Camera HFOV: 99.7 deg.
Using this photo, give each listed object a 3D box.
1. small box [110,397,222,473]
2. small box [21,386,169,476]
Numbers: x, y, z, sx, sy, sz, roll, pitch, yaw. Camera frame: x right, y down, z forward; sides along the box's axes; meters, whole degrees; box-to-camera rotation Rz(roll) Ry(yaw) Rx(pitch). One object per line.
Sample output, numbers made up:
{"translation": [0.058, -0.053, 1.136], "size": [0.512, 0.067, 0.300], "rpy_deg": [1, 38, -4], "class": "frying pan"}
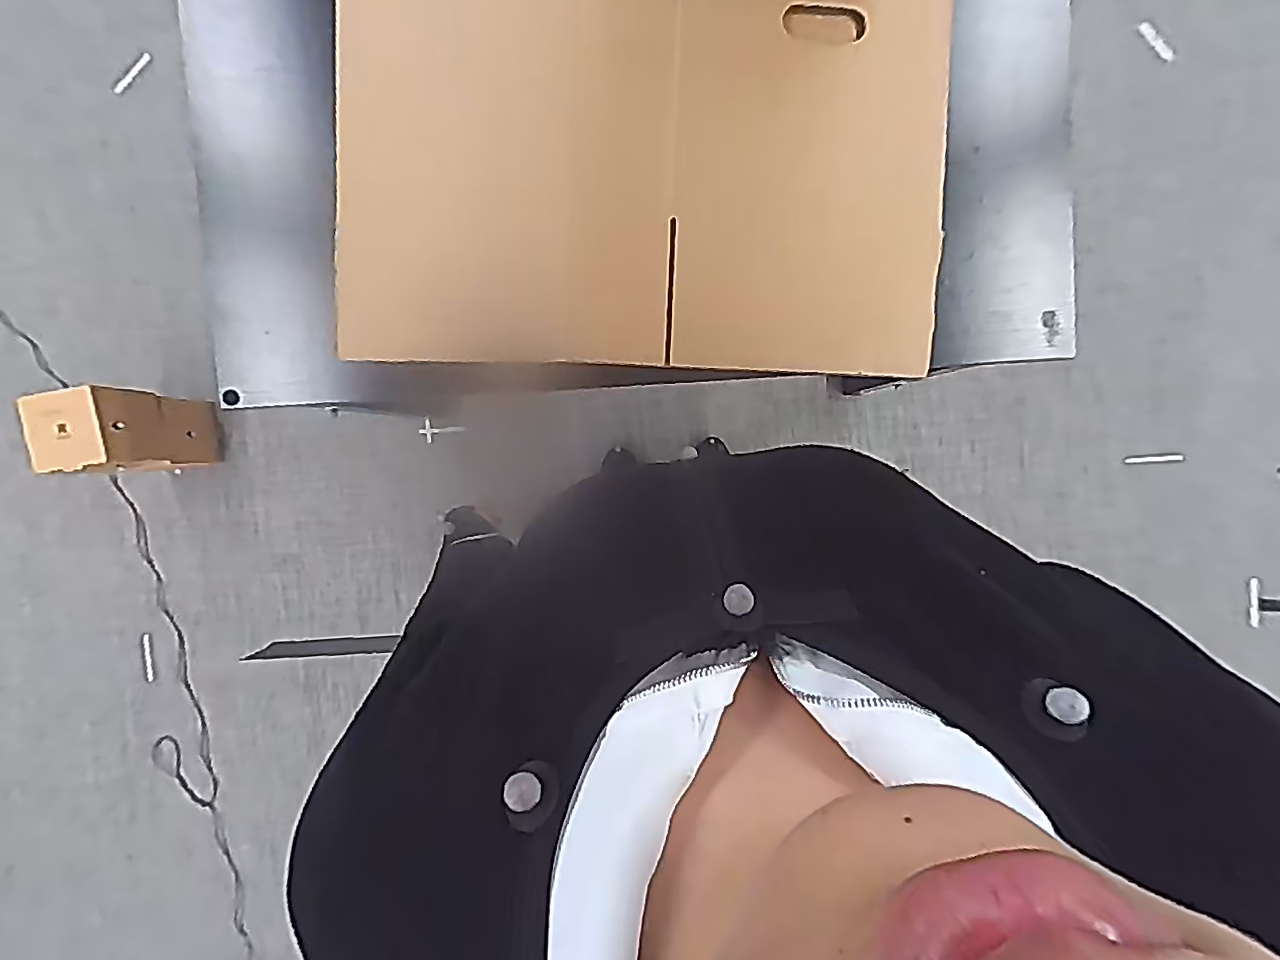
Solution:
{"translation": [-1.258, -0.116, 1.430], "size": [0.168, 0.176, 0.179], "rpy_deg": [-7, 94, 1], "class": "small box"}
{"translation": [-1.263, -0.112, 1.267], "size": [0.168, 0.176, 0.179], "rpy_deg": [-11, 92, 0], "class": "small box"}
